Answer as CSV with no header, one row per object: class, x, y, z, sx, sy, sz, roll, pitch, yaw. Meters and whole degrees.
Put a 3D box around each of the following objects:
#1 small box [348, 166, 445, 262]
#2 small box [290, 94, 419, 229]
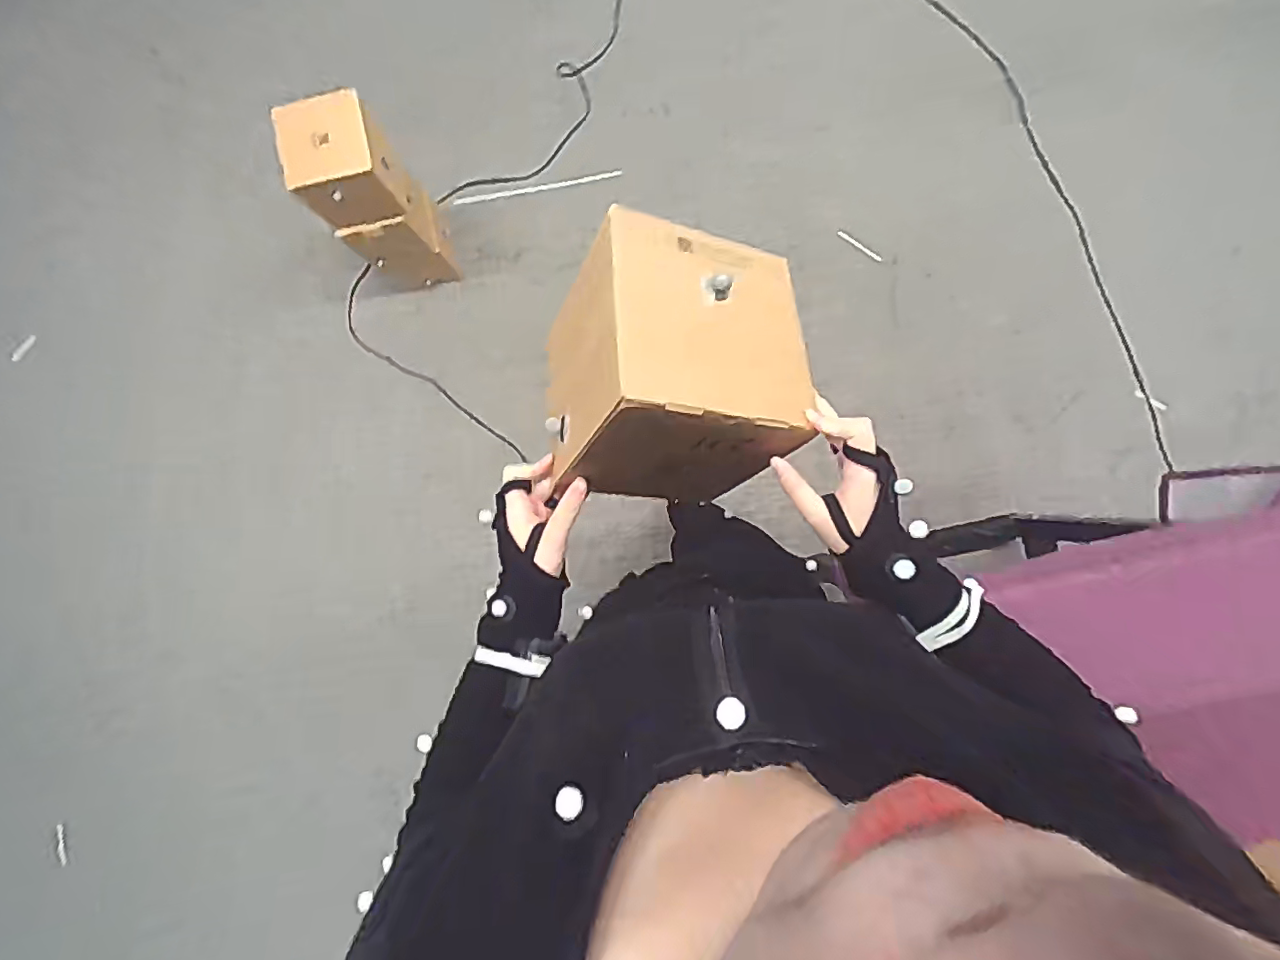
small box,-0.593,-0.650,1.310,0.168,0.176,0.179,-12,87,3
small box,-0.591,-0.664,1.146,0.179,0.176,0.168,-12,88,4
